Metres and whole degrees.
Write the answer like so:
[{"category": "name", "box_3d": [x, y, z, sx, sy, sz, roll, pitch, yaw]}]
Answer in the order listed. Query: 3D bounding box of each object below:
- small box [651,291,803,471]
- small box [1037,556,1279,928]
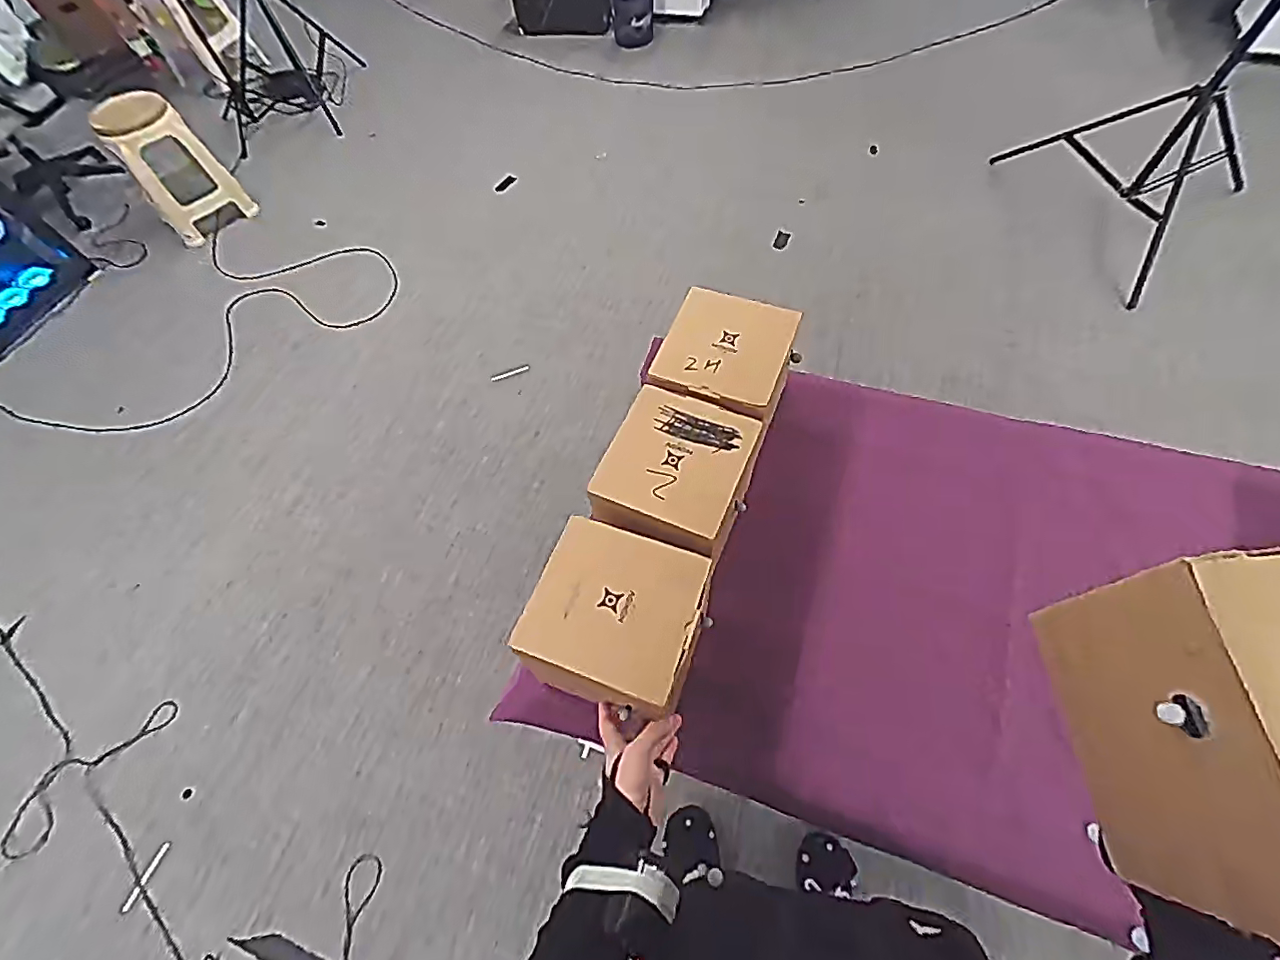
[{"category": "small box", "box_3d": [0.126, -0.144, 0.808, 0.168, 0.176, 0.179, 19, 64, 15]}, {"category": "small box", "box_3d": [0.381, 0.149, 0.316, 0.168, 0.176, 0.179, -6, 65, 7]}]
